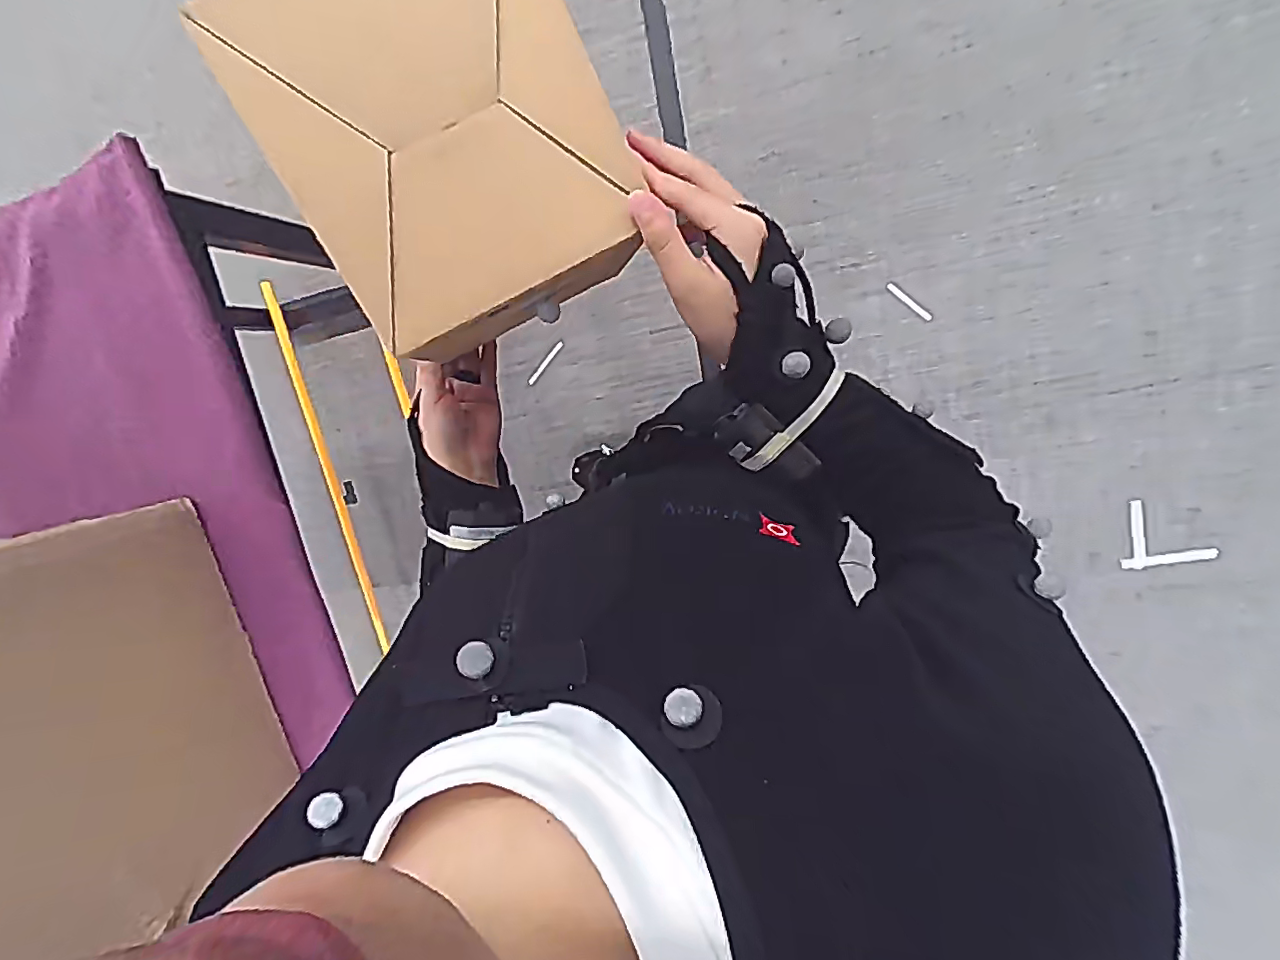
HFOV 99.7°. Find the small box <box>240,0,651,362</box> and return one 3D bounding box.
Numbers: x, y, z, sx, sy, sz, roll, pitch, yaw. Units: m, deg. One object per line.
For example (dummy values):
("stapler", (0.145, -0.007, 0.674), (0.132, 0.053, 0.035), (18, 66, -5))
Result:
("small box", (-0.108, -0.193, 0.350), (0.168, 0.176, 0.179), (-28, 105, -4))
